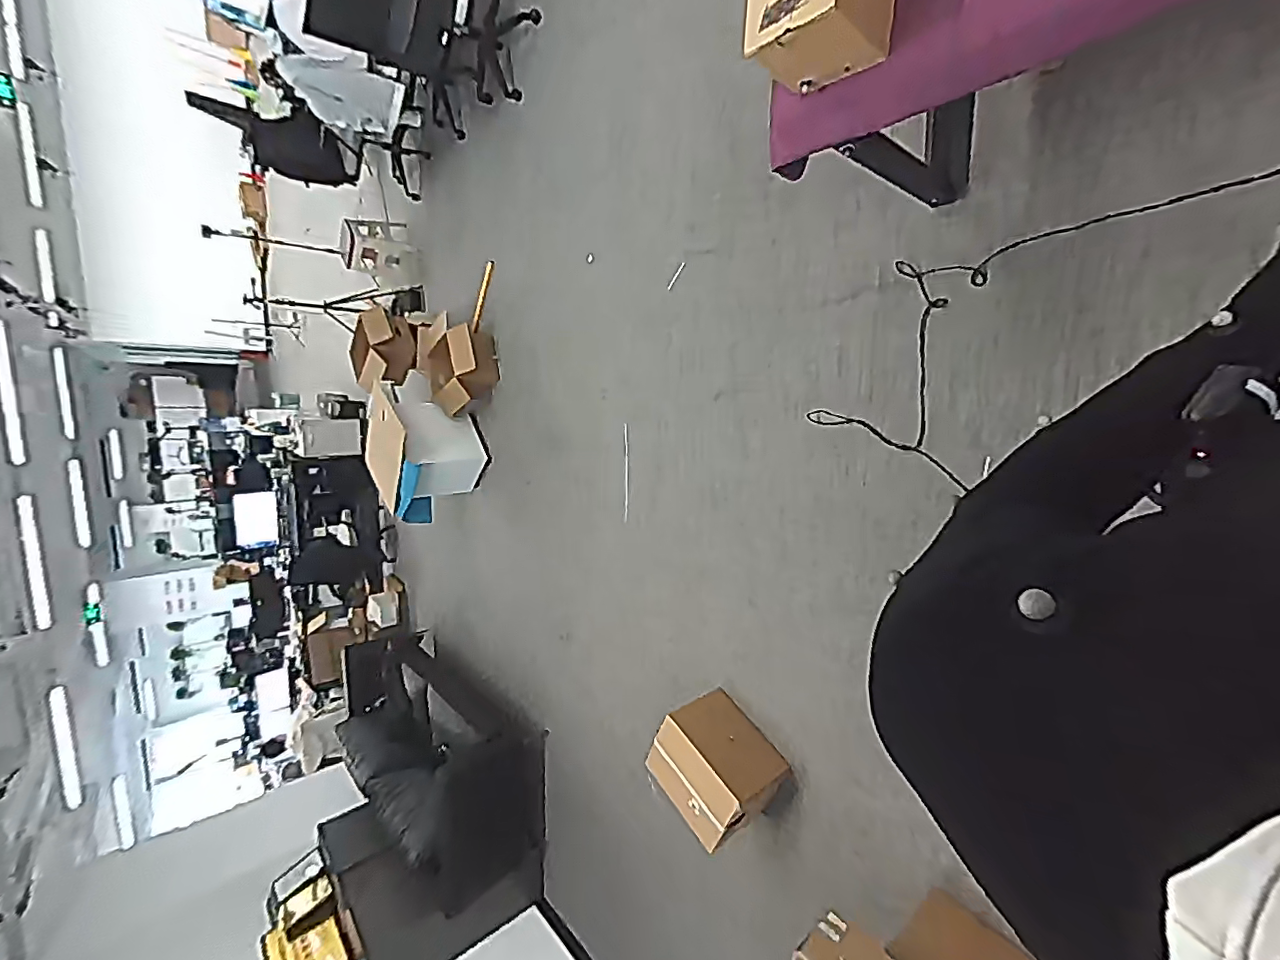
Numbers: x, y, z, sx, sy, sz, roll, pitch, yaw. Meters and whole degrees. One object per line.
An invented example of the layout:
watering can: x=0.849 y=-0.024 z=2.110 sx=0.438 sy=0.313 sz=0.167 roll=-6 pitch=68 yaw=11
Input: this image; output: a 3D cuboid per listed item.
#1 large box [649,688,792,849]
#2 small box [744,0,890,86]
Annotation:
large box: x=0.306 y=1.111 z=2.129 sx=0.408 sy=0.320 sz=0.320 roll=39 pitch=124 yaw=37
small box: x=0.287 y=-0.767 z=0.860 sx=0.168 sy=0.176 sz=0.179 roll=13 pitch=104 yaw=47
